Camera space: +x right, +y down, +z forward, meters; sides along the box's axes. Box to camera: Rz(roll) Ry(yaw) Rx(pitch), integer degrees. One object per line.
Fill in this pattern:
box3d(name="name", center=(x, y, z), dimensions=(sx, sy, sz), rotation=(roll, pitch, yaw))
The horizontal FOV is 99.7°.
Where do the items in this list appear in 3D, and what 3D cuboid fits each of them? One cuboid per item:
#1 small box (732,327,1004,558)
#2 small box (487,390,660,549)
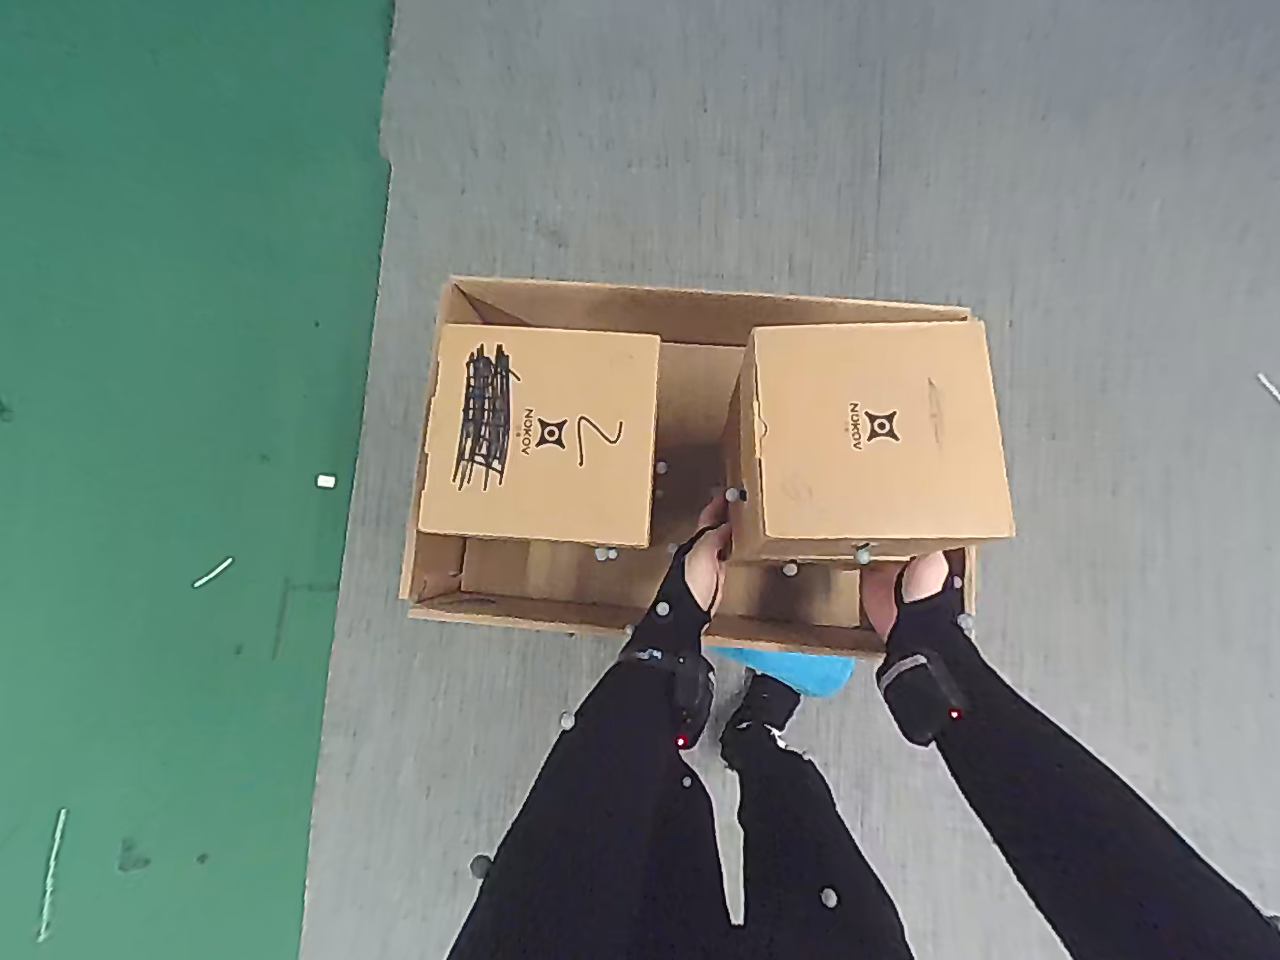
box3d(name="small box", center=(0.173, -0.019, 0.475), dimensions=(0.179, 0.176, 0.168), rotation=(0, 78, 4))
box3d(name="small box", center=(-0.068, -0.004, 0.661), dimensions=(0.179, 0.176, 0.168), rotation=(3, 83, 2))
